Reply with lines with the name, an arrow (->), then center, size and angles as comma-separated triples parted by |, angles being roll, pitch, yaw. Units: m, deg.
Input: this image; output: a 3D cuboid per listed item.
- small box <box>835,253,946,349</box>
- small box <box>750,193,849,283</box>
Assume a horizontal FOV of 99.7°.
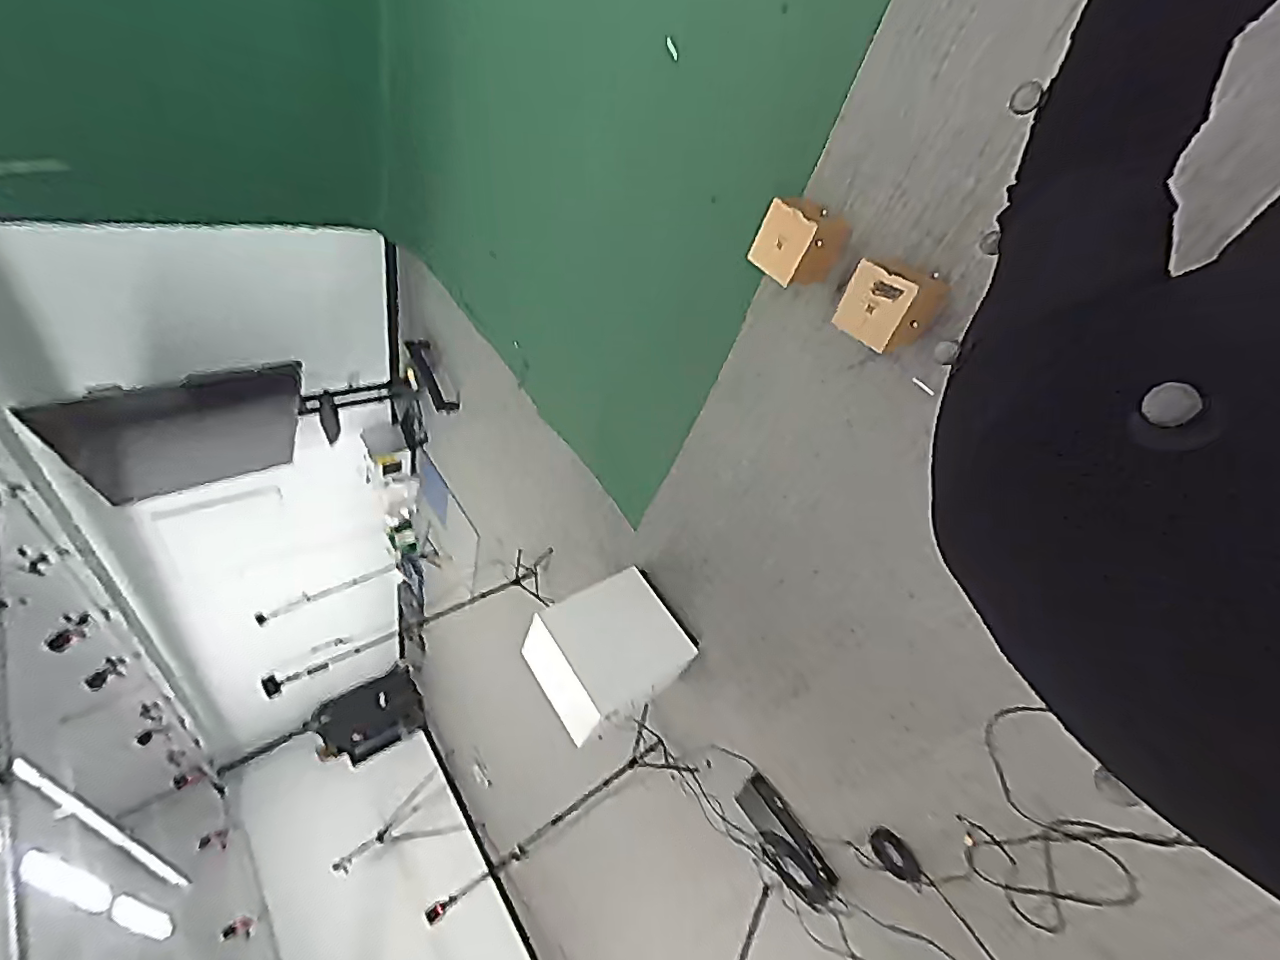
small box -> 0.640, -0.460, 1.374 | 0.168, 0.176, 0.179 | 46, 137, 30
small box -> 0.450, -0.678, 1.520 | 0.168, 0.176, 0.179 | 49, 137, 25
